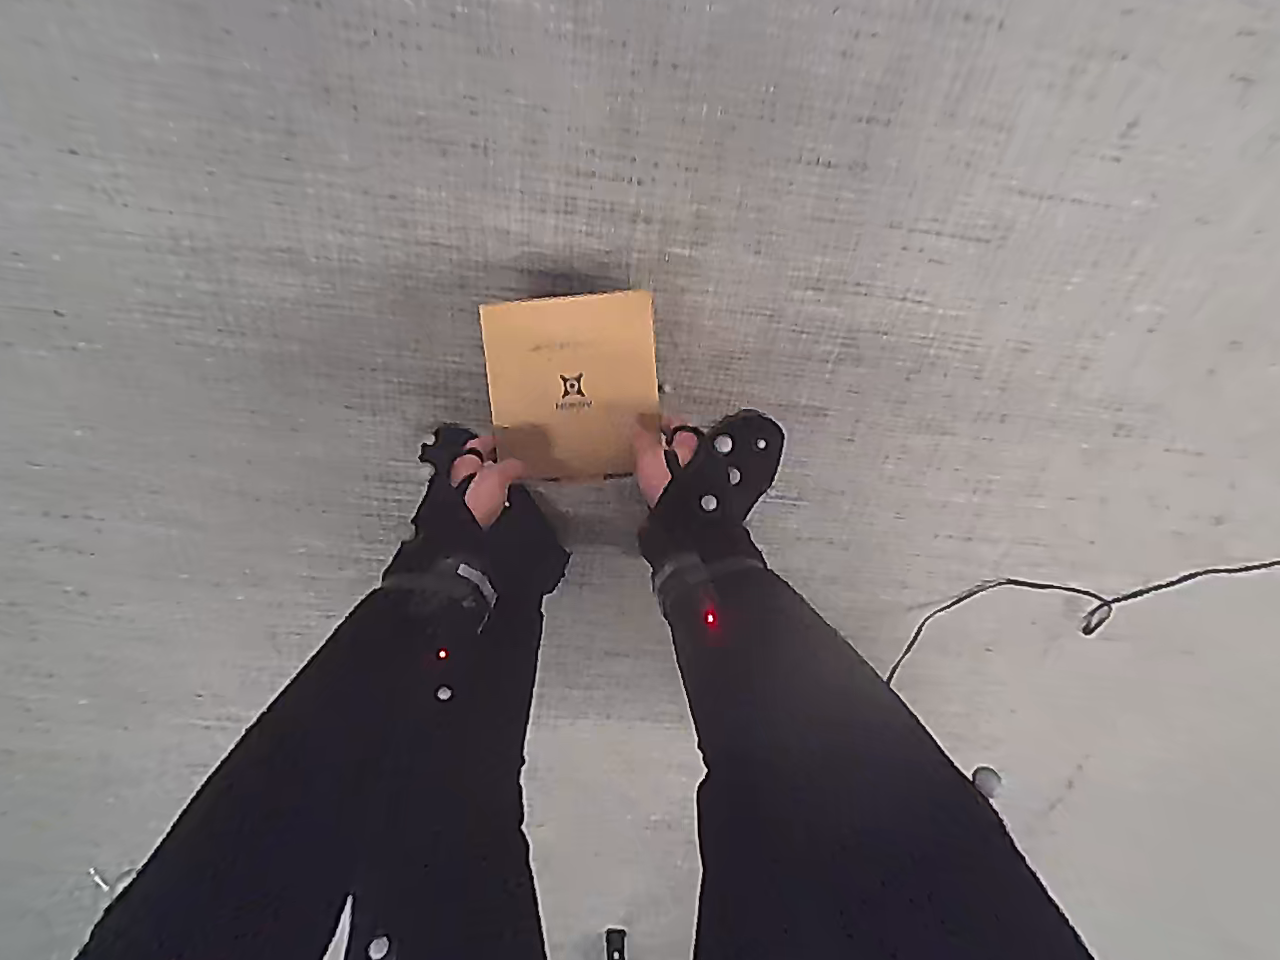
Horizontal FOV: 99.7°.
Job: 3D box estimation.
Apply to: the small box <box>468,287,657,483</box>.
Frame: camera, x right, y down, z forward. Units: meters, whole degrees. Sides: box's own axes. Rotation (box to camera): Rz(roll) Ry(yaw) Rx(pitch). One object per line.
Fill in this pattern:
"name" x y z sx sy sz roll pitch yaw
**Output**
"small box" -0.070 -0.100 0.595 0.168 0.176 0.179 -5 98 3
